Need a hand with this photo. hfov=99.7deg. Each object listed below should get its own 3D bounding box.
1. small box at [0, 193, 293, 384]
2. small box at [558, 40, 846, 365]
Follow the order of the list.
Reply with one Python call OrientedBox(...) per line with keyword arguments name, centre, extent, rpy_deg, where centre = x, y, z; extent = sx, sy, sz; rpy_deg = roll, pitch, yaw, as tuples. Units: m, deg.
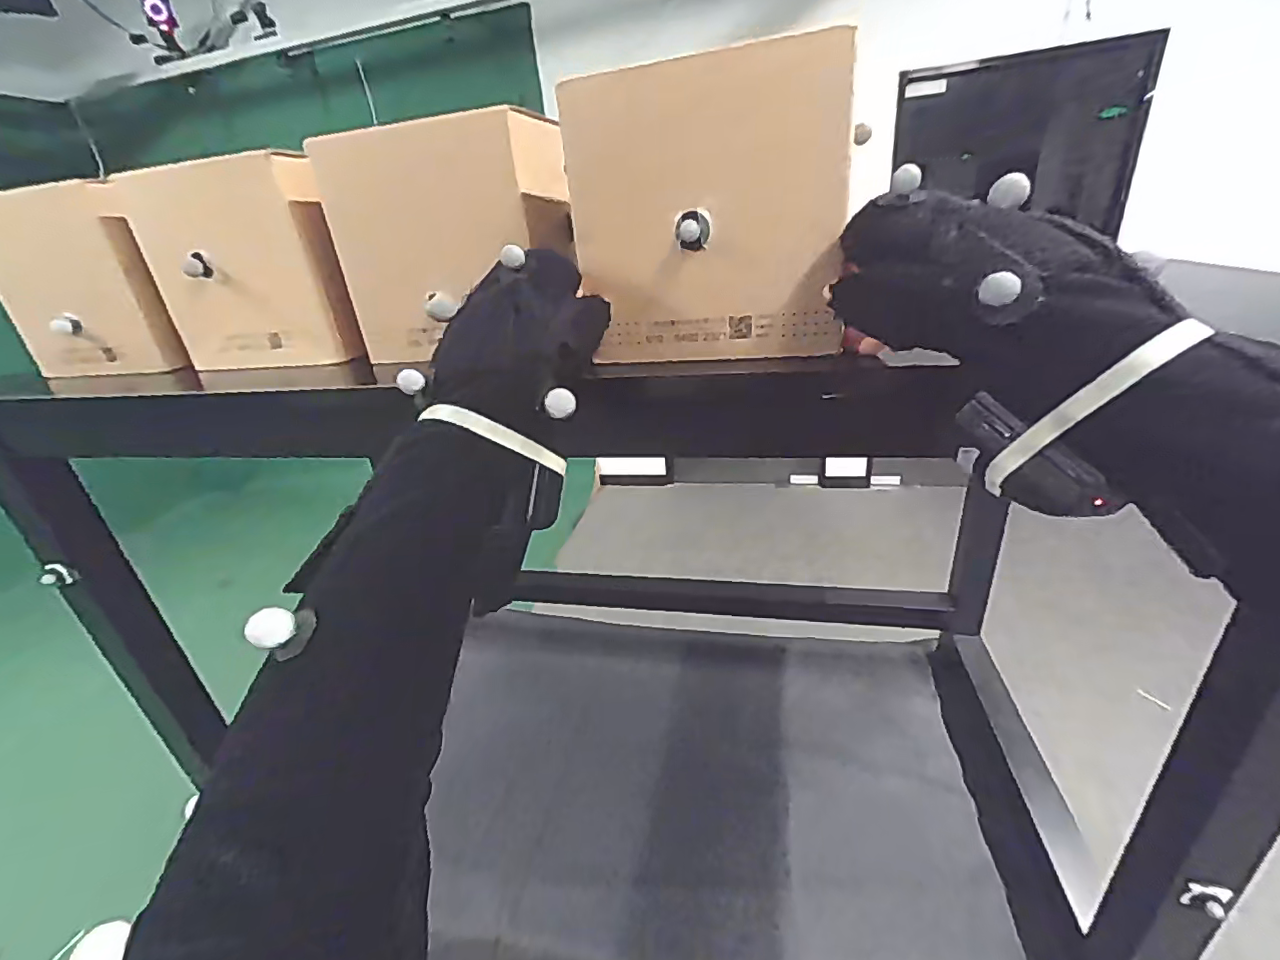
OrientedBox(name="small box", centre=(-0.521, -0.208, 0.589), extent=(0.168, 0.176, 0.179), rpy_deg=(0, 27, 13))
OrientedBox(name="small box", centre=(0.060, -0.184, 0.400), extent=(0.168, 0.176, 0.179), rpy_deg=(2, 26, 17))
